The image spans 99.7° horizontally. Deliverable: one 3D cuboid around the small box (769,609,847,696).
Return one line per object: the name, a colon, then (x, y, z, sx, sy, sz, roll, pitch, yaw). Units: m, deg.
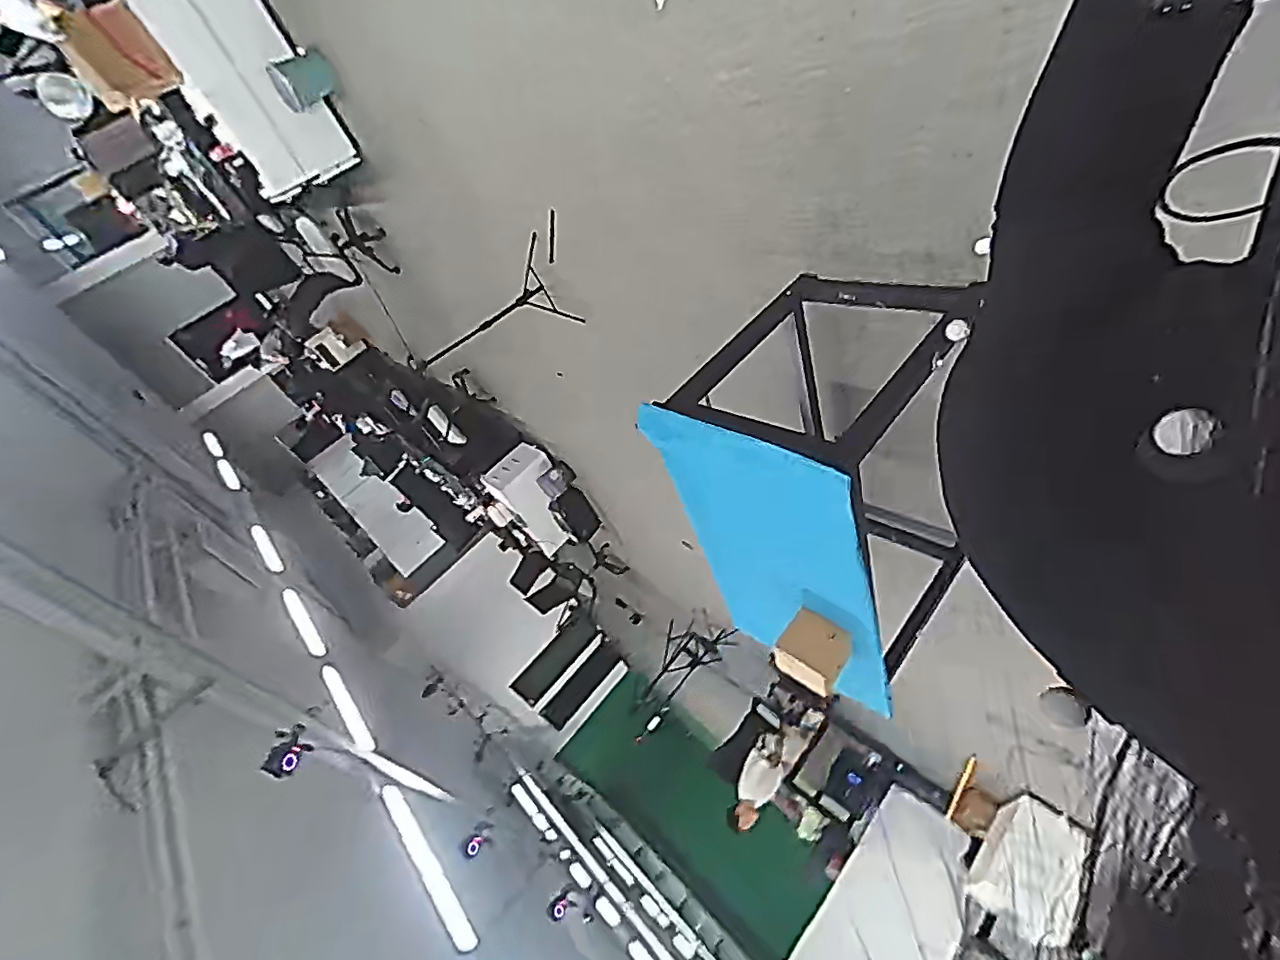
small box: (0.542, 0.557, 1.738, 0.179, 0.176, 0.168, 27, 151, 38)
